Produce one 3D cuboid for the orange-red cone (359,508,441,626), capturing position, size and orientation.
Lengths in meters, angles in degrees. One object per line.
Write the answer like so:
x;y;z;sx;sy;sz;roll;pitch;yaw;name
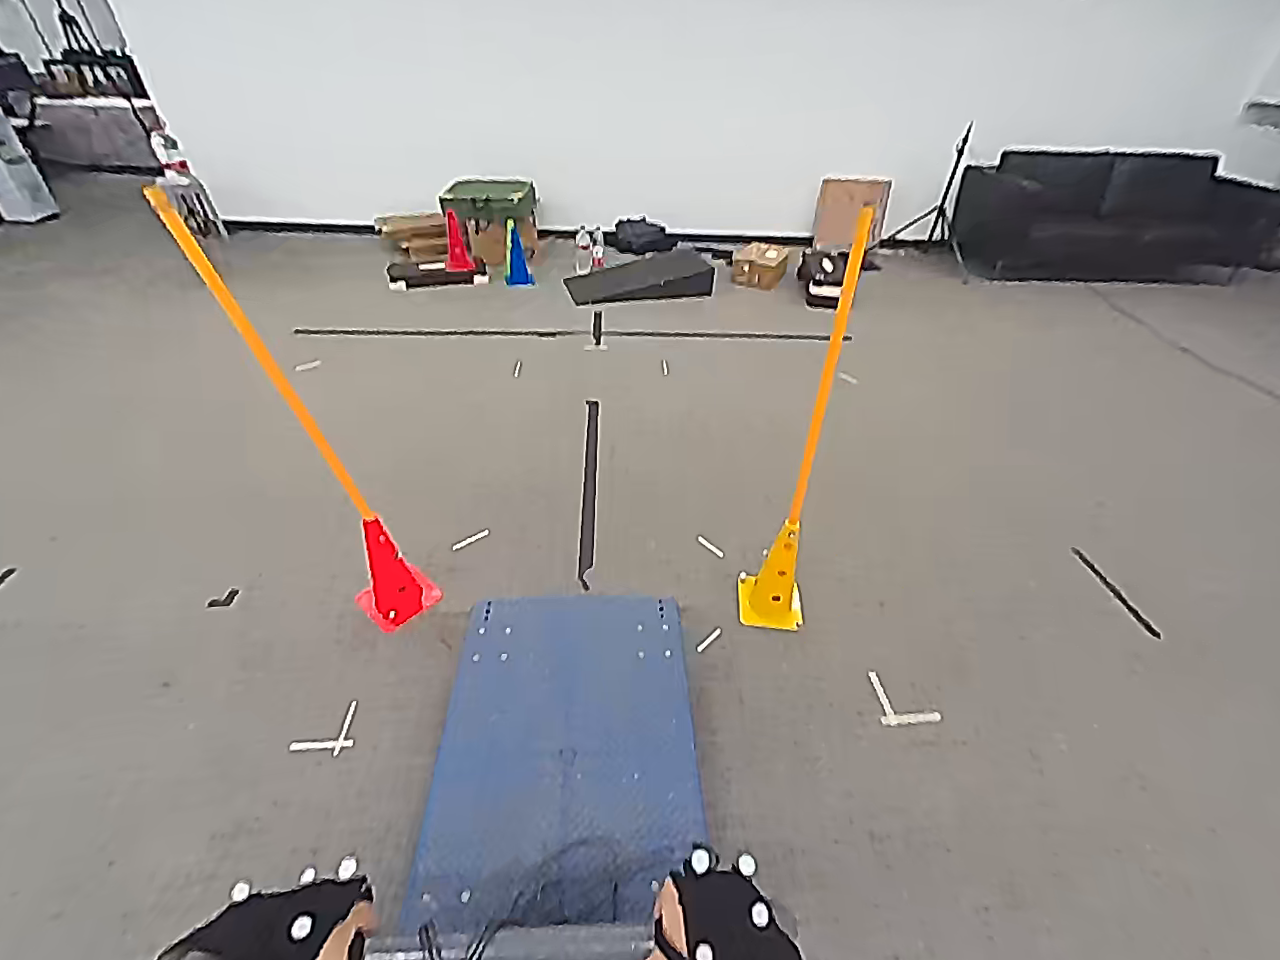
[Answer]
-0.749;0.225;1.606;0.198;0.360;0.199;33;46;29;orange-red cone
